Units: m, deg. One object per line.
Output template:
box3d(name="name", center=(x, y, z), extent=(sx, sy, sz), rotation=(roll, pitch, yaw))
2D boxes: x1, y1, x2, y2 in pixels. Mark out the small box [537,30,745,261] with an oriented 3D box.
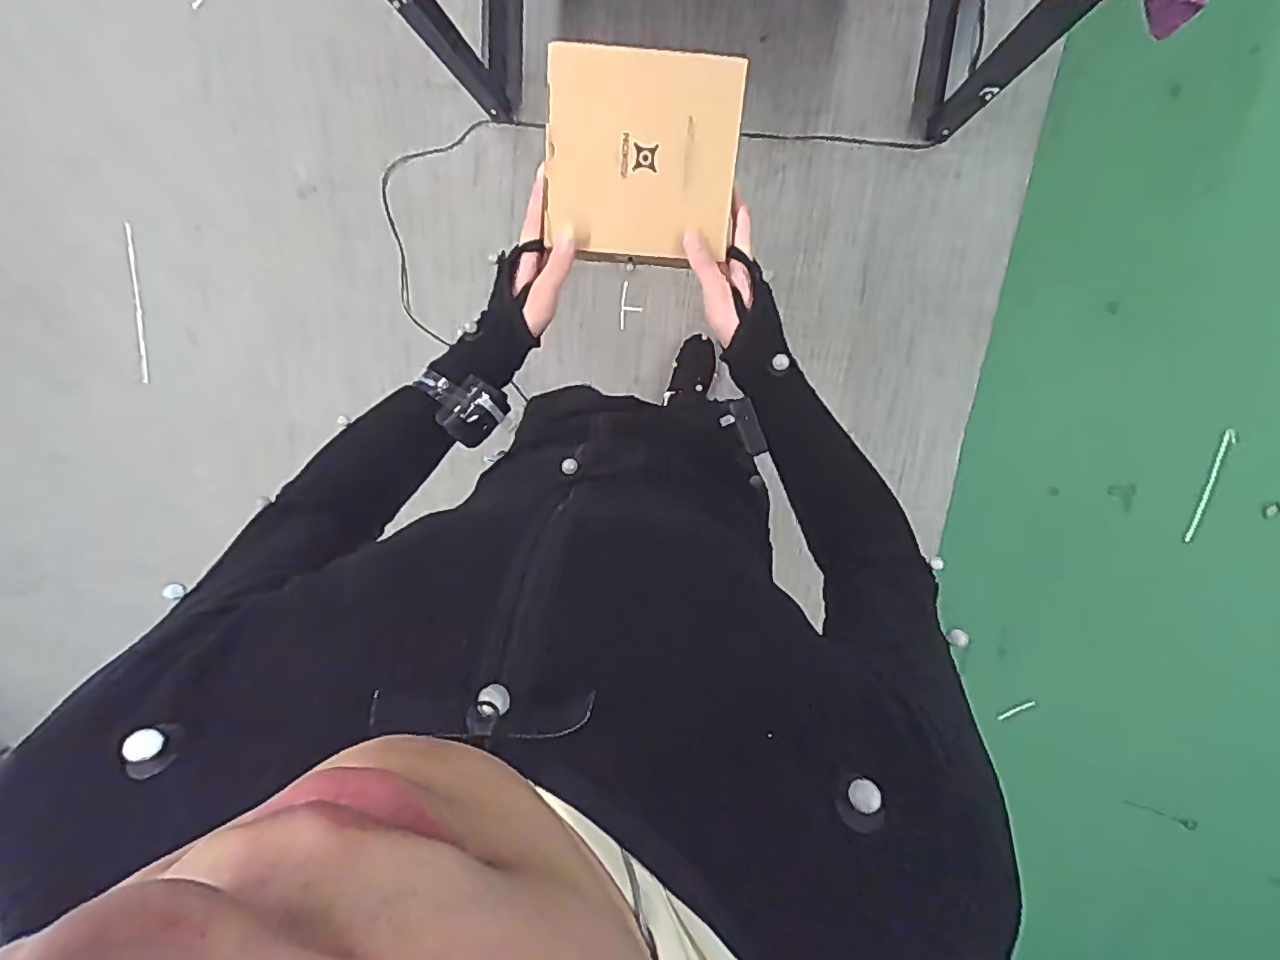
box3d(name="small box", center=(-0.002, -0.324, 0.561), extent=(0.179, 0.176, 0.168), rotation=(5, 109, -1))
